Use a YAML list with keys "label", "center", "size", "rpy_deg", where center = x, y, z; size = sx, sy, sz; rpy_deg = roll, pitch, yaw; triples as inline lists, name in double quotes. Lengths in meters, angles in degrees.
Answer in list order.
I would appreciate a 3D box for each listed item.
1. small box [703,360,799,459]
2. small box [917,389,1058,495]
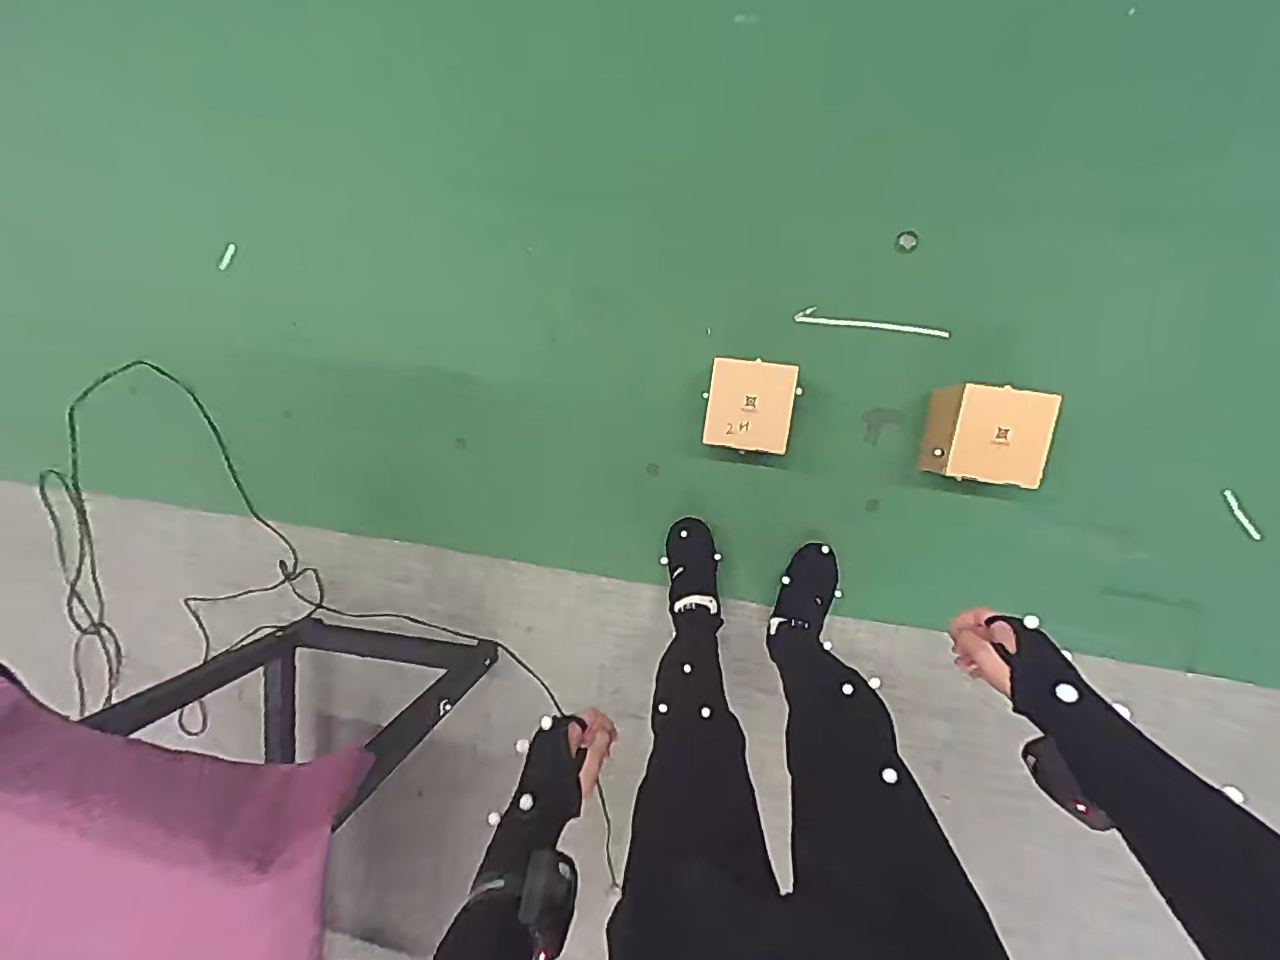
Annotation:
- label: "small box"
  center: [0.230, -0.147, 1.146]
  size: [0.168, 0.176, 0.179]
  rpy_deg: [9, 98, 10]
- label: "small box"
  center: [0.677, -0.078, 1.076]
  size: [0.168, 0.176, 0.179]
  rpy_deg: [10, 99, 8]
